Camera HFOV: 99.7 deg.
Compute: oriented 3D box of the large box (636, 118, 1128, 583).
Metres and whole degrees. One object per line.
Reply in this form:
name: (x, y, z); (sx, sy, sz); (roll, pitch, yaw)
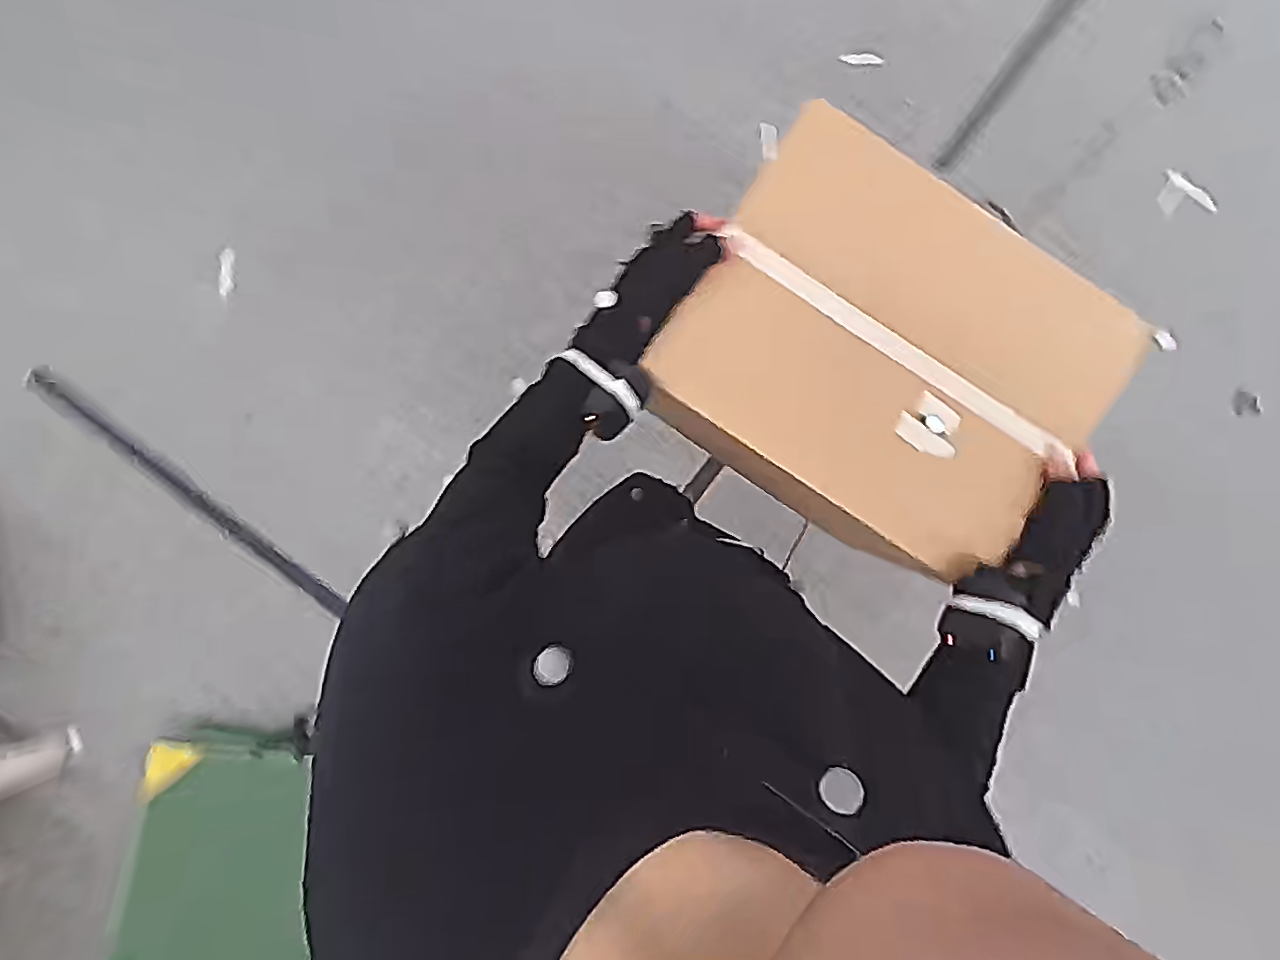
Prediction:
large box: (0.242, -0.131, 0.688); (0.408, 0.320, 0.320); (34, 92, -2)
